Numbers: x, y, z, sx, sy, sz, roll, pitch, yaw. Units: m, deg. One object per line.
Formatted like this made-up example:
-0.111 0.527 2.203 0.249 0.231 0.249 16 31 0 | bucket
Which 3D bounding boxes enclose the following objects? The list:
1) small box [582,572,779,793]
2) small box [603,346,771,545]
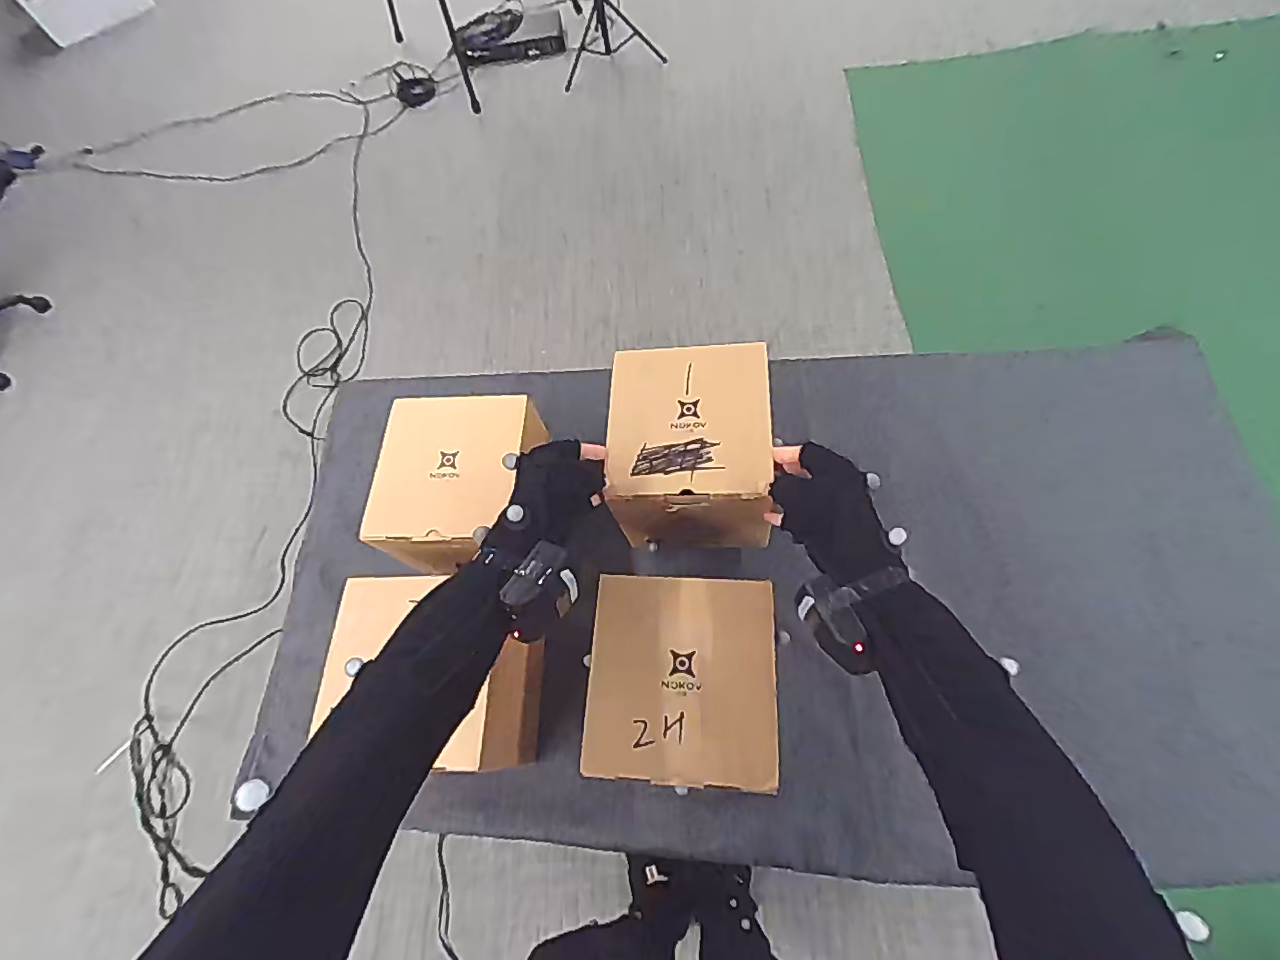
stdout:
0.046 0.204 0.551 0.168 0.176 0.179 1 66 8 | small box
0.061 -0.028 0.618 0.168 0.176 0.179 -1 66 10 | small box
